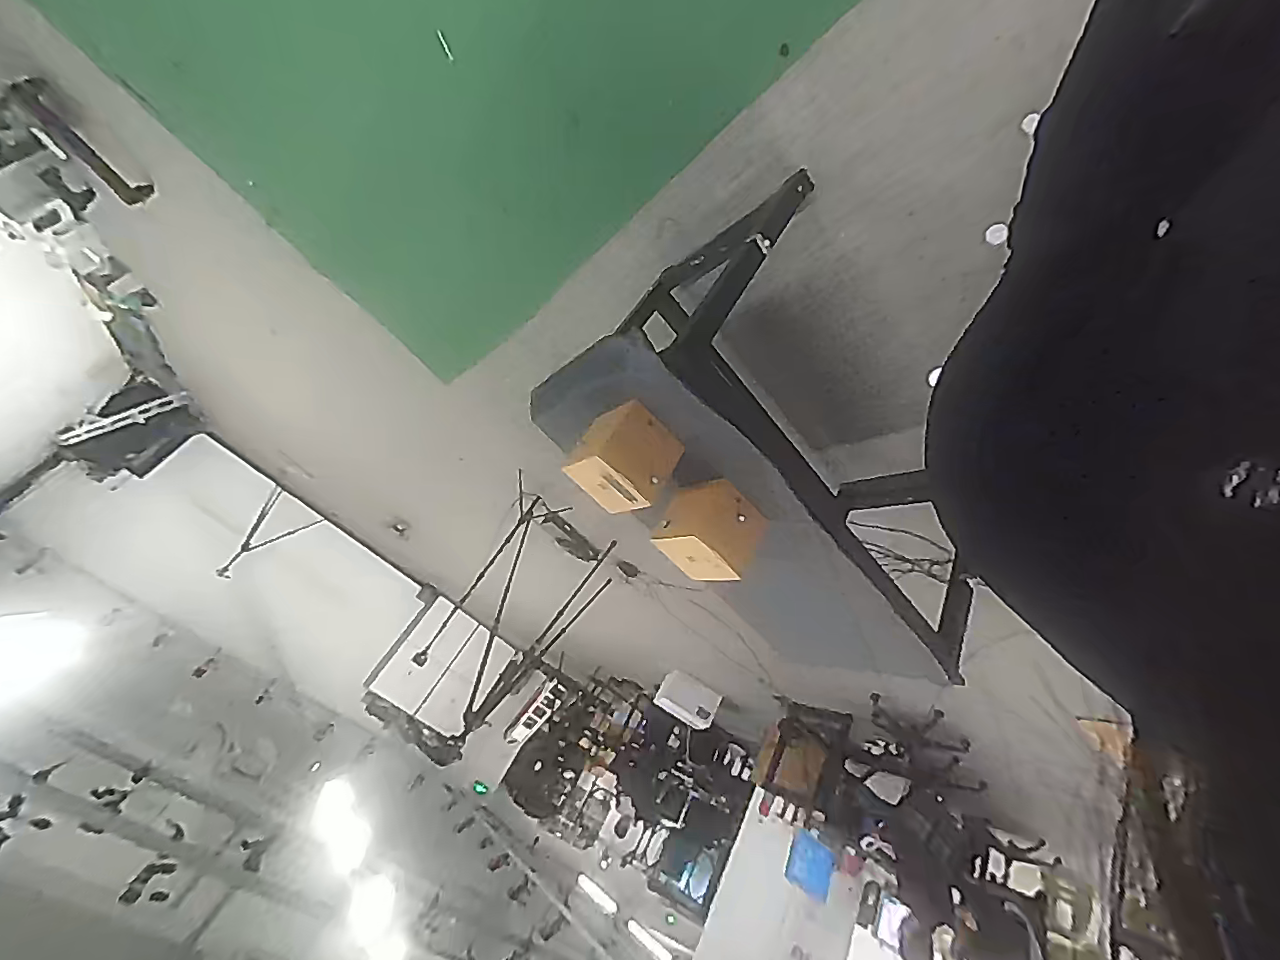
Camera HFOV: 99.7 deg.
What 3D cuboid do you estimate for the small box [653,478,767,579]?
[{"bbox_3d":[0.168,0.117,1.280,0.168,0.176,0.179,43,150,-21],"label":"small box"}]
